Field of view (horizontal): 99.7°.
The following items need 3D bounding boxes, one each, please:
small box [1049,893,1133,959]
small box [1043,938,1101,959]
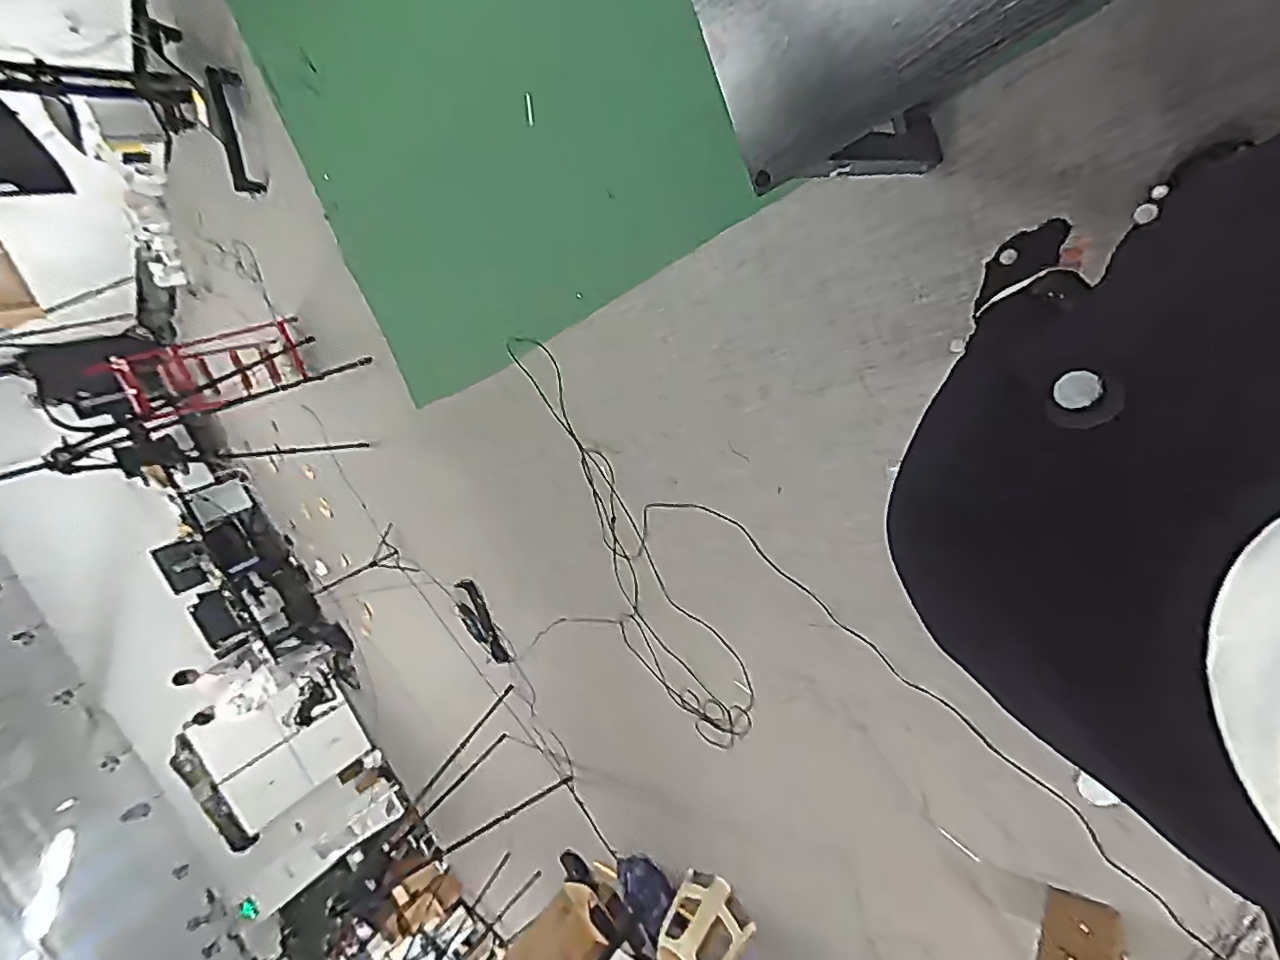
[{"bbox_3d":[1.354,1.395,1.619,0.179,0.176,0.168,-9,106,46],"label":"small box"},{"bbox_3d":[1.244,1.459,1.515,0.168,0.176,0.179,-8,106,46],"label":"small box"}]
